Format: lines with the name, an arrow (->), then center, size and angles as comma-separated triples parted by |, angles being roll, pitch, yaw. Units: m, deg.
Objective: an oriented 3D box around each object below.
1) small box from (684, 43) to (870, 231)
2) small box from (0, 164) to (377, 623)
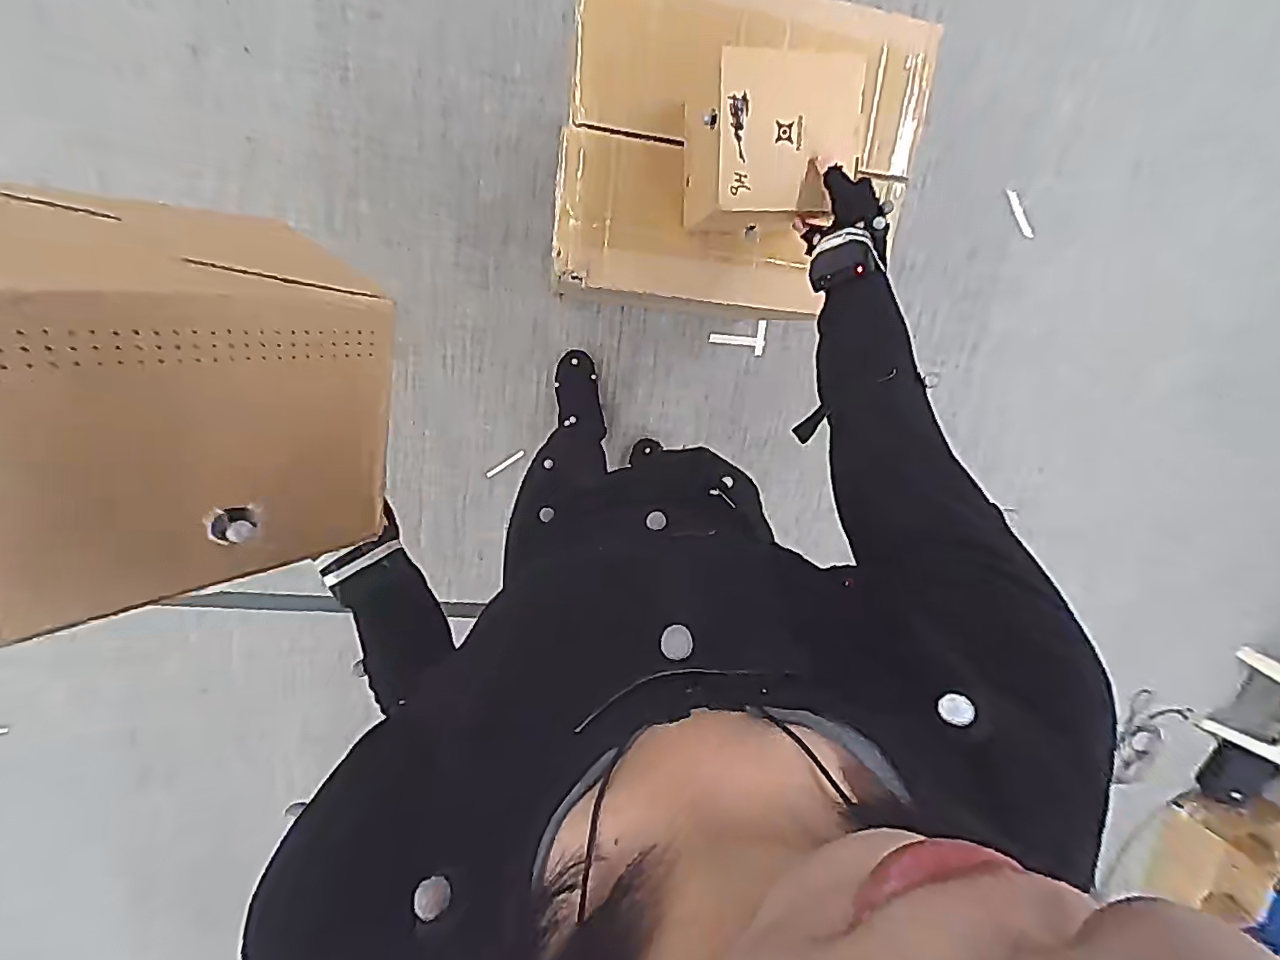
small box -> 0.164, -0.424, 0.699 | 0.179, 0.176, 0.168 | -4, 107, -9
small box -> -0.268, -0.060, 0.304 | 0.179, 0.168, 0.176 | -15, 130, -47
